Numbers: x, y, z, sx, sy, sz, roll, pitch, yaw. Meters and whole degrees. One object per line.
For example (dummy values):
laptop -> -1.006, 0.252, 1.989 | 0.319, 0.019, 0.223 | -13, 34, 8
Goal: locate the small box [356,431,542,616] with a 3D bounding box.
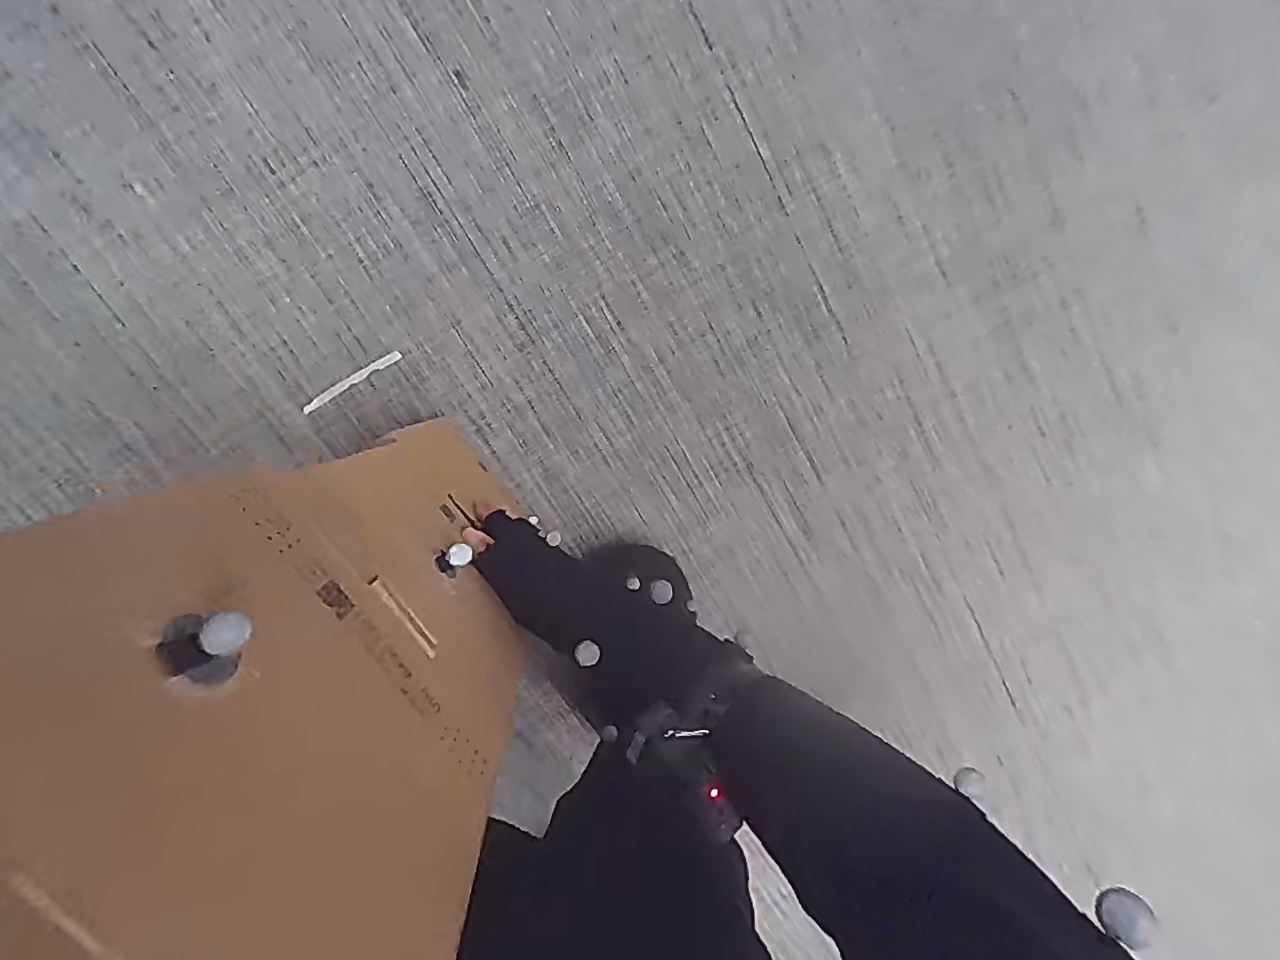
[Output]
small box -> -0.205, 0.071, 0.488 | 0.179, 0.176, 0.168 | -38, 102, 1

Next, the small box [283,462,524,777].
small box -> -0.185, 0.104, 0.328 | 0.179, 0.176, 0.168 | -34, 100, 0
